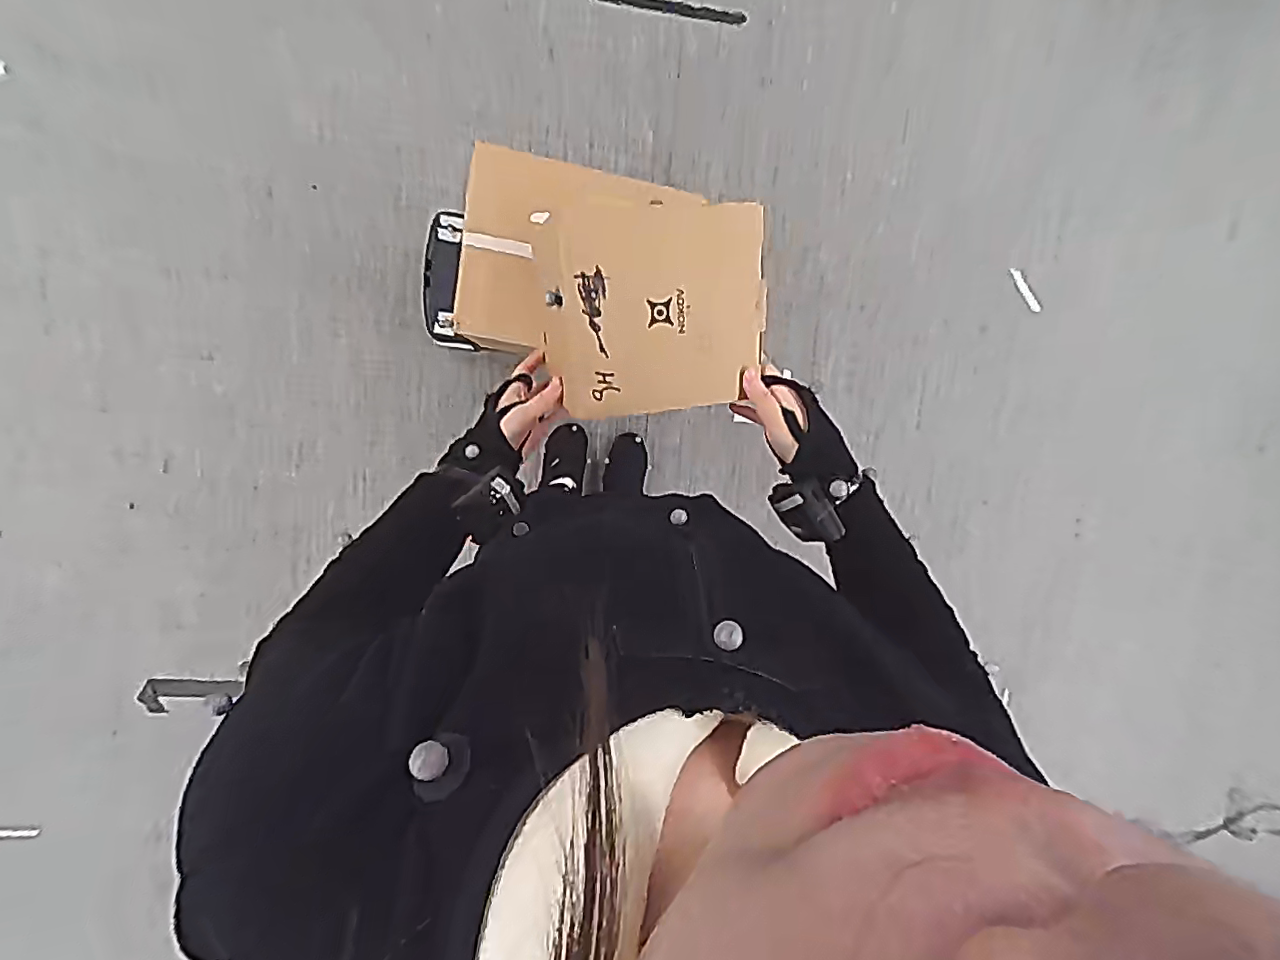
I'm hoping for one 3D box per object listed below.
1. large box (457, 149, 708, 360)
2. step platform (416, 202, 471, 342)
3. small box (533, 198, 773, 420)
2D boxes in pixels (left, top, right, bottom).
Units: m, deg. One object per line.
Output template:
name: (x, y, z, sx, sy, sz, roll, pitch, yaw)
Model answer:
large box: (-0.111, -0.390, 1.074, 0.408, 0.320, 0.320, 9, 96, -8)
step platform: (-0.169, -0.425, 1.304, 0.684, 0.204, 0.286, 11, 97, -8)
small box: (0.006, -0.161, 0.510, 0.179, 0.176, 0.168, -10, 109, -15)
